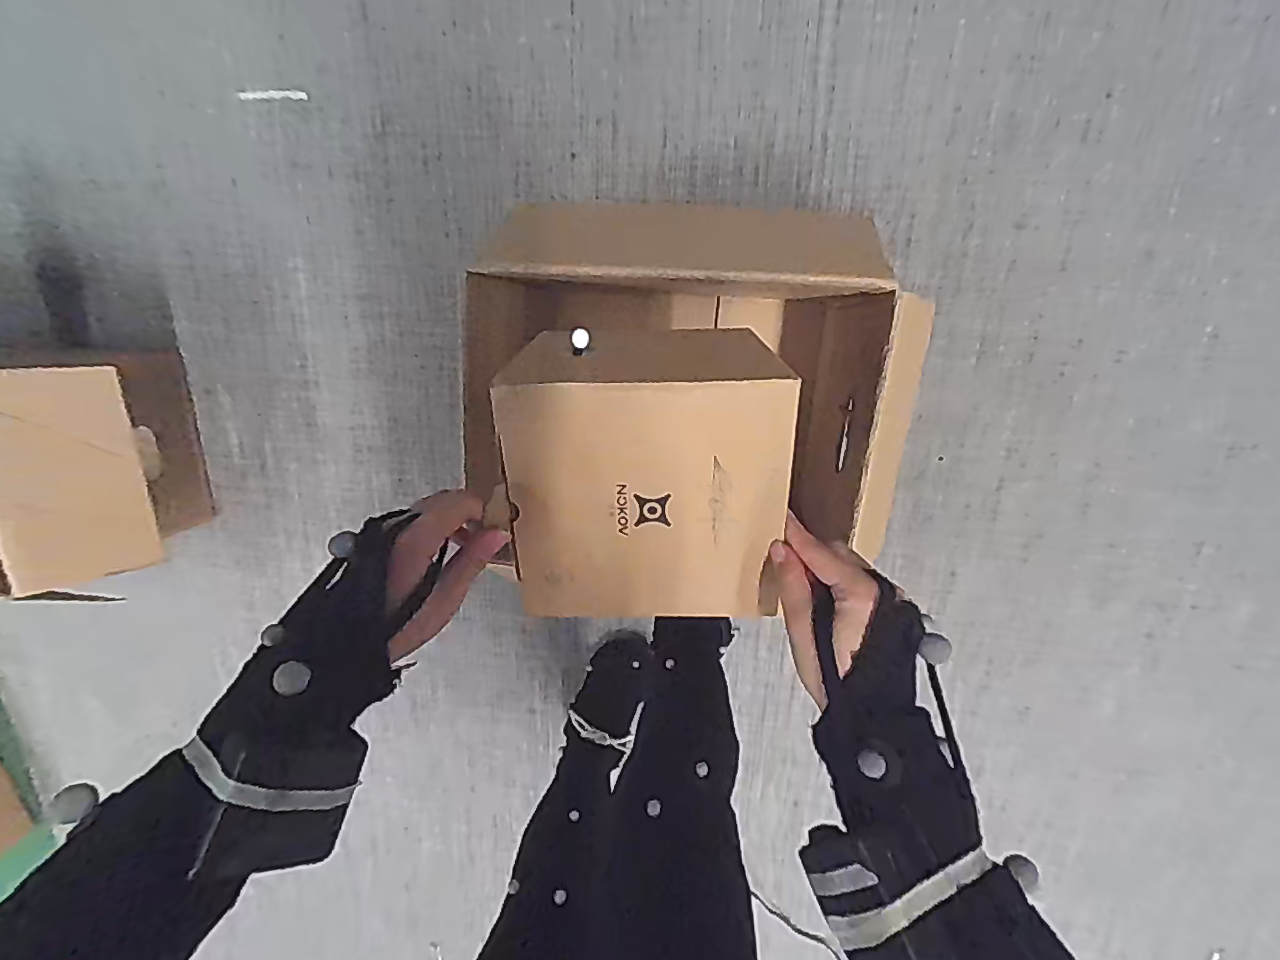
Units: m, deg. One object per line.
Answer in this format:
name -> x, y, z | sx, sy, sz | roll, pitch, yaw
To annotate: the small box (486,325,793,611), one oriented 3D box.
small box -> 0.001, -0.020, 0.408 | 0.179, 0.176, 0.168 | -1, 115, 0
